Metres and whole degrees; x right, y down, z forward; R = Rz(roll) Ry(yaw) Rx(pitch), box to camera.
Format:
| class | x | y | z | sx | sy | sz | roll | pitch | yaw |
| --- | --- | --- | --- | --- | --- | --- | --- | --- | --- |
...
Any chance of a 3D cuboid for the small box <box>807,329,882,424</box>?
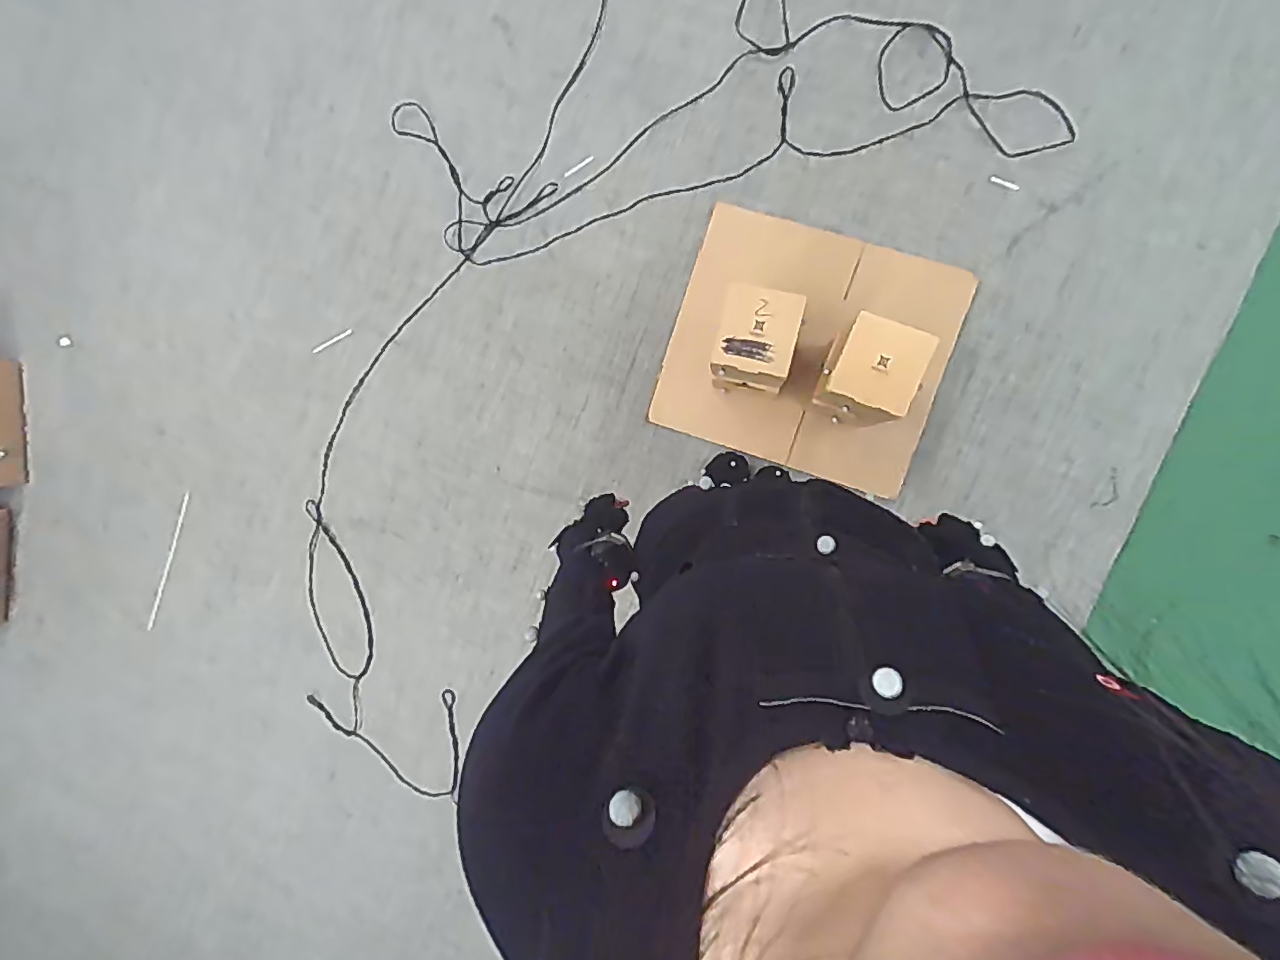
| class | x | y | z | sx | sy | sz | roll | pitch | yaw |
| --- | --- | --- | --- | --- | --- | --- | --- | --- | --- |
| small box | 0.521 | -0.246 | 1.324 | 0.168 | 0.176 | 0.179 | 20 | 96 | 9 |

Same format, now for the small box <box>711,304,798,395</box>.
| class | x | y | z | sx | sy | sz | roll | pitch | yaw |
| --- | --- | --- | --- | --- | --- | --- | --- | --- | --- |
| small box | 0.282 | -0.317 | 1.352 | 0.168 | 0.176 | 0.179 | 15 | 95 | 7 |

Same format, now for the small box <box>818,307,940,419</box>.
| class | x | y | z | sx | sy | sz | roll | pitch | yaw |
| --- | --- | --- | --- | --- | --- | --- | --- | --- | --- |
| small box | 0.500 | -0.243 | 1.162 | 0.168 | 0.176 | 0.179 | 22 | 97 | 7 |
